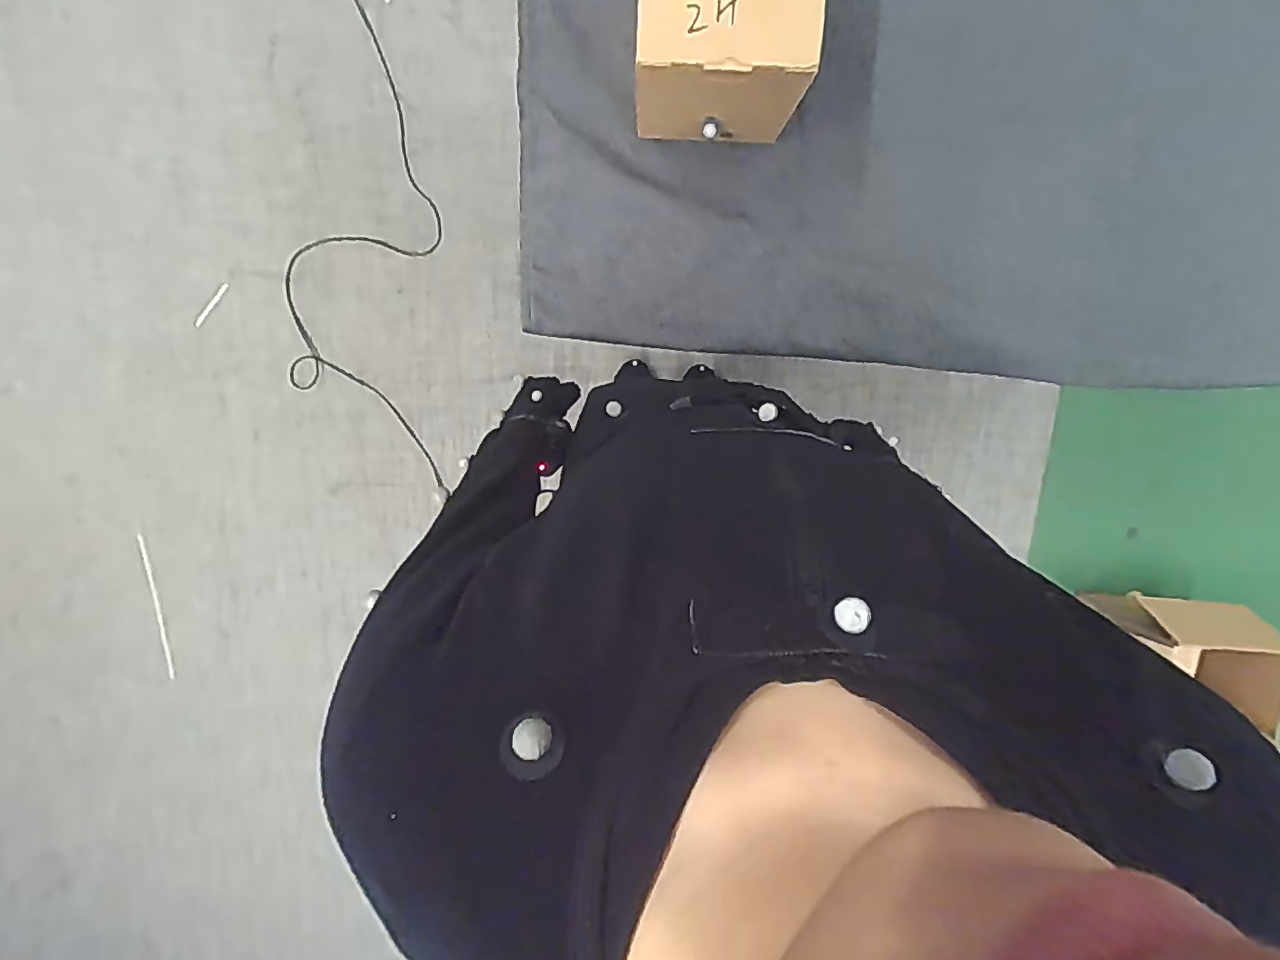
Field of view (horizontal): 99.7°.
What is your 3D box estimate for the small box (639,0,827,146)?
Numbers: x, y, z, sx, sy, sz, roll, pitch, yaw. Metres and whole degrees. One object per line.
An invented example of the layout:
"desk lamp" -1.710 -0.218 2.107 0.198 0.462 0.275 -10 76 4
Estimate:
"small box" 0.085 -0.471 0.547 0.168 0.176 0.179 2 102 0
